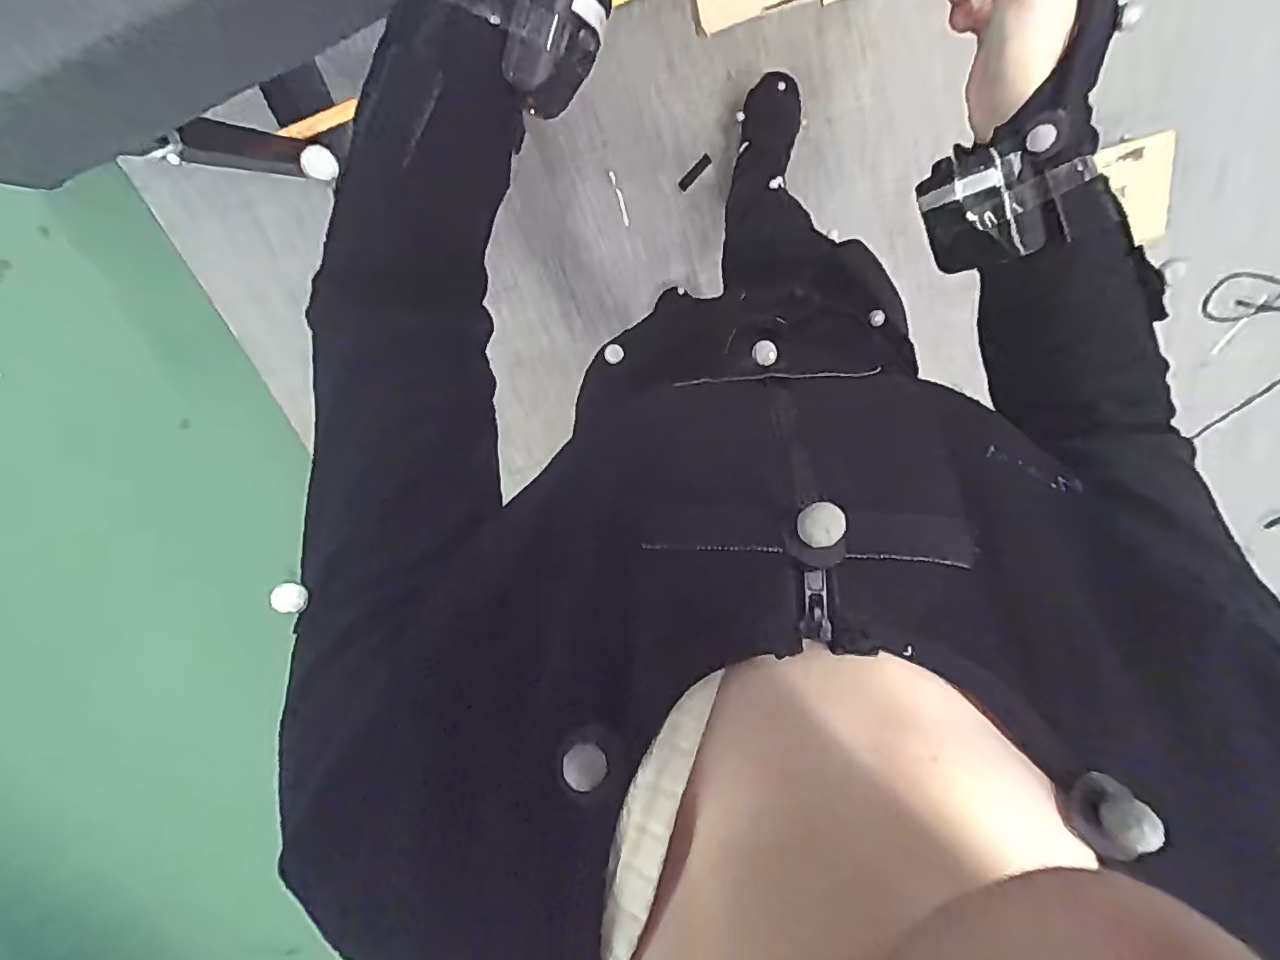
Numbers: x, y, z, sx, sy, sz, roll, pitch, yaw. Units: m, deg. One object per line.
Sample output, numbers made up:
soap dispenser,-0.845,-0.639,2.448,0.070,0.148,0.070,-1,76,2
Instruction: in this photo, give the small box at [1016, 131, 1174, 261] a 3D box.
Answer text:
small box,0.855,-0.539,1.037,0.168,0.176,0.179,-13,115,9
